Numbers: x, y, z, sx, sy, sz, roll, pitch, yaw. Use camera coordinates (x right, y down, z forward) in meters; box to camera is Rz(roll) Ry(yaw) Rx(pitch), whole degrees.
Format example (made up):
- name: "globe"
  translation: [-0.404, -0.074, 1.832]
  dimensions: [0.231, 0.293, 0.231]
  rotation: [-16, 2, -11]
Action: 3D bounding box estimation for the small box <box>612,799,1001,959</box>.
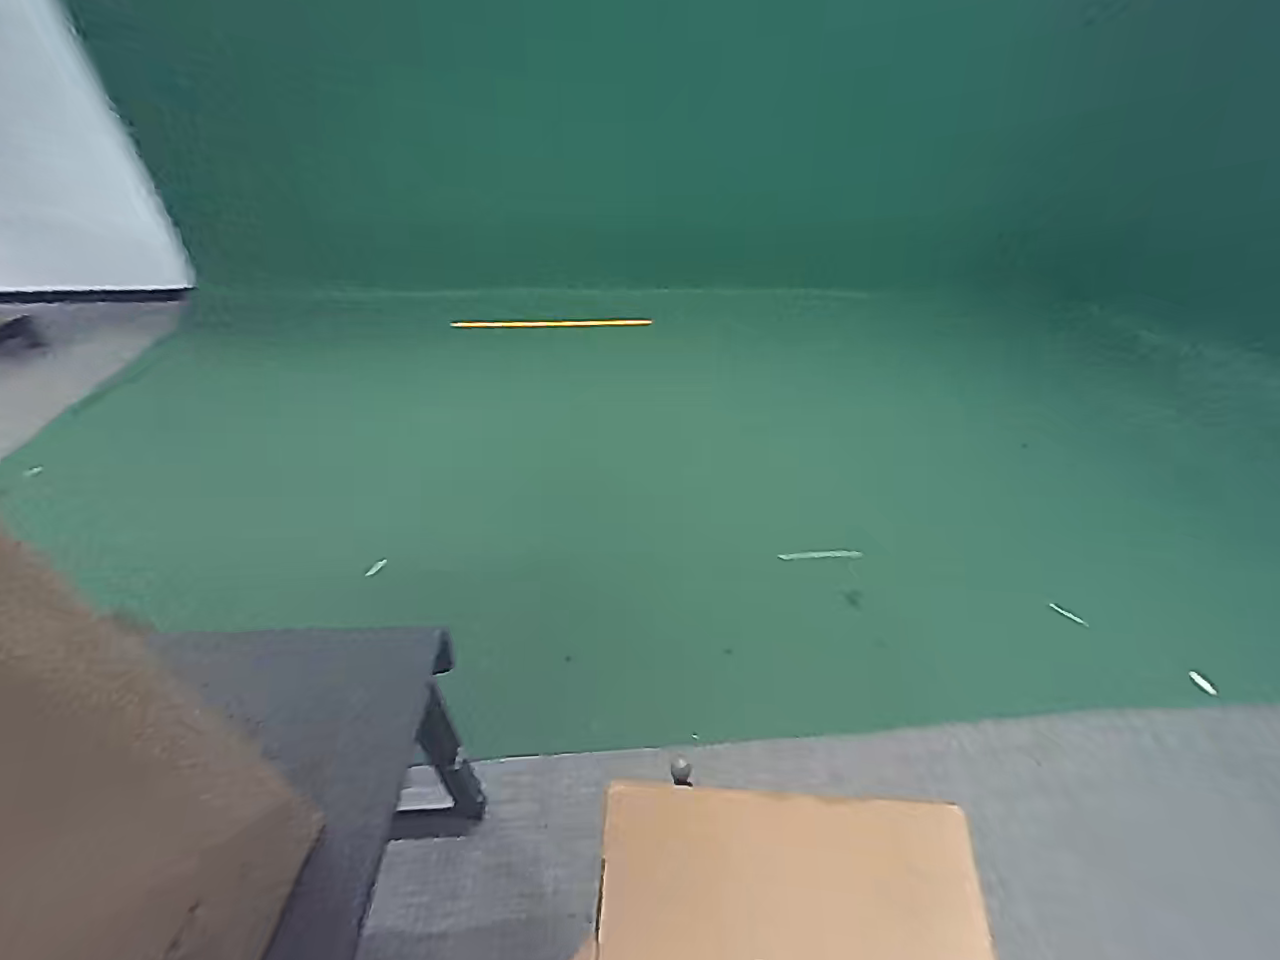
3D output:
- name: "small box"
  translation: [0.074, 0.276, 0.296]
  dimensions: [0.179, 0.176, 0.168]
  rotation: [2, 59, 3]
